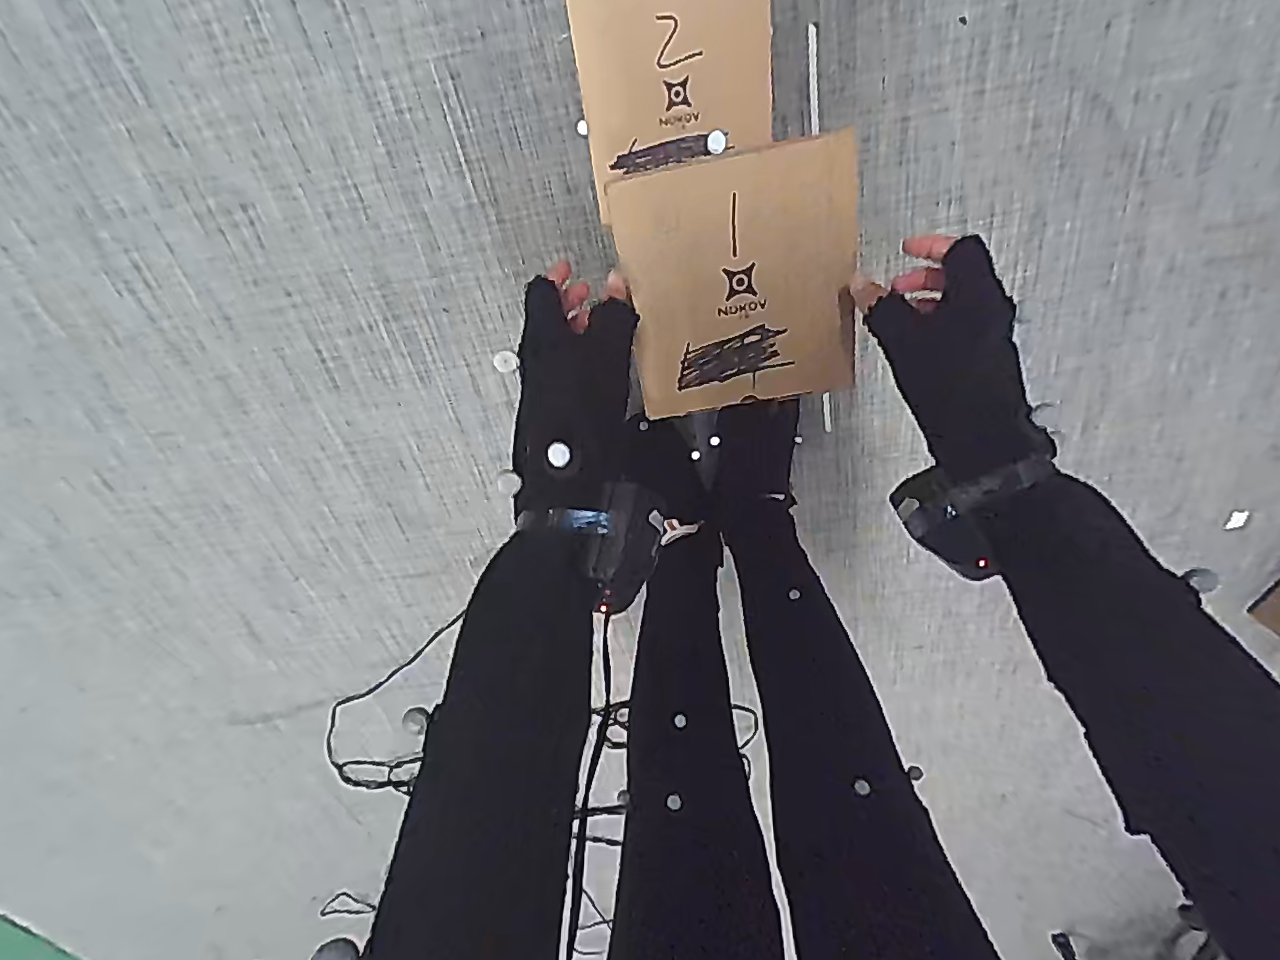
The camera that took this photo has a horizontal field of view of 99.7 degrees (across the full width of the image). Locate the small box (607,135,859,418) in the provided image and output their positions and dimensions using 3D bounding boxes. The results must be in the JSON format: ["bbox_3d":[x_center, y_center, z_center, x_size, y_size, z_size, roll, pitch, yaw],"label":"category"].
[{"bbox_3d":[0.074,-0.174,0.459,0.168,0.176,0.179,-9,119,6],"label":"small box"}]
